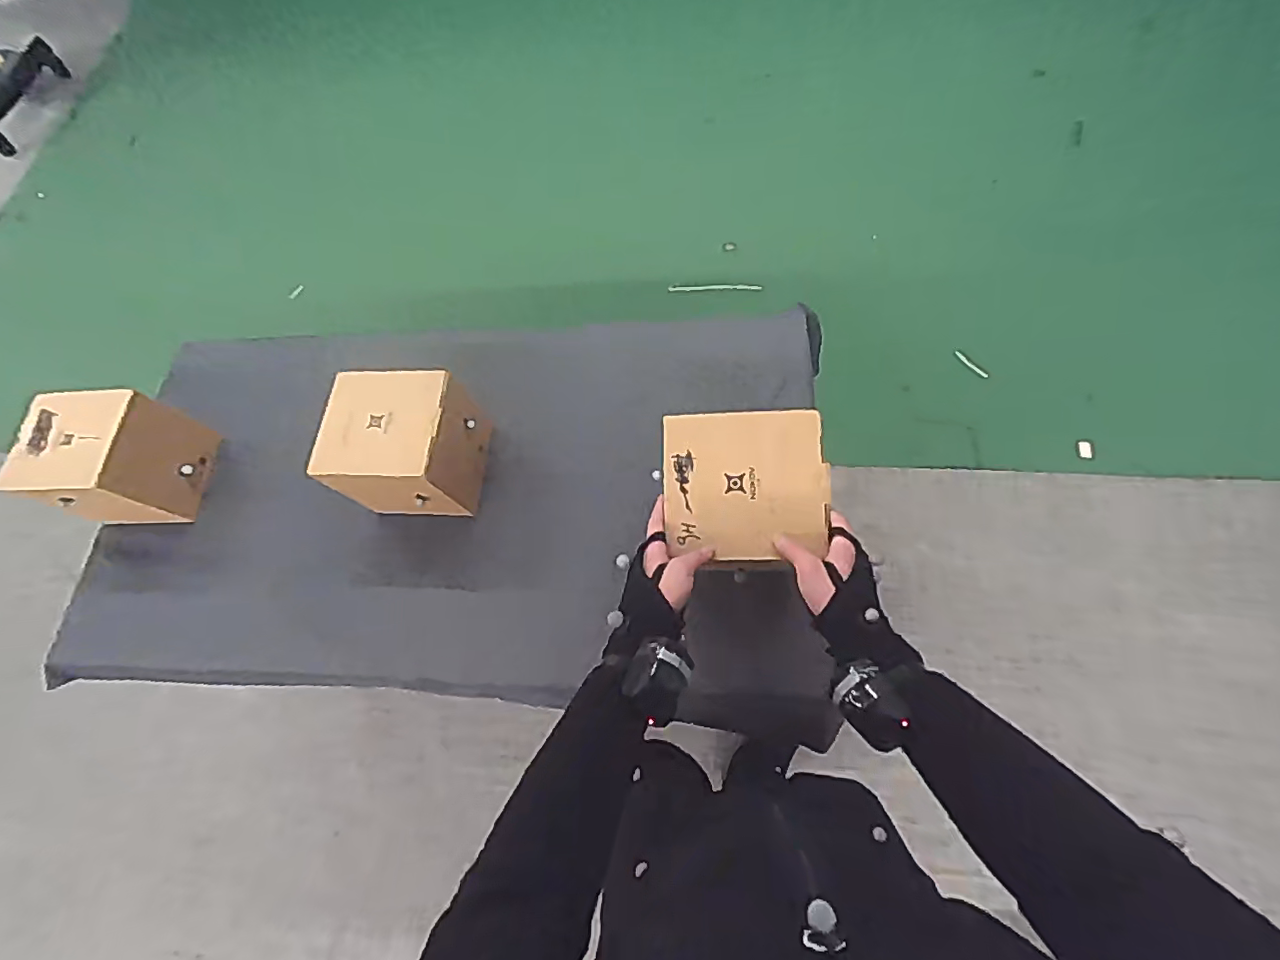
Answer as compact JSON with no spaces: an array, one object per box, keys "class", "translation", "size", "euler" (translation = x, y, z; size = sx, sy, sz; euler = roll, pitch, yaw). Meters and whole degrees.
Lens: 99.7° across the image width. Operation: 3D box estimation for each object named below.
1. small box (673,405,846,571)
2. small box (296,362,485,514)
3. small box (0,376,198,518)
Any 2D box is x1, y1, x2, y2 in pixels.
[{"class":"small box","translation":[0.129,0.018,0.651],"size":[0.179,0.176,0.168],"euler":[0,74,4]},{"class":"small box","translation":[-0.346,-0.055,0.791],"size":[0.179,0.176,0.168],"euler":[1,66,7]},{"class":"small box","translation":[-0.848,-0.044,0.830],"size":[0.179,0.176,0.168],"euler":[-1,68,4]}]
